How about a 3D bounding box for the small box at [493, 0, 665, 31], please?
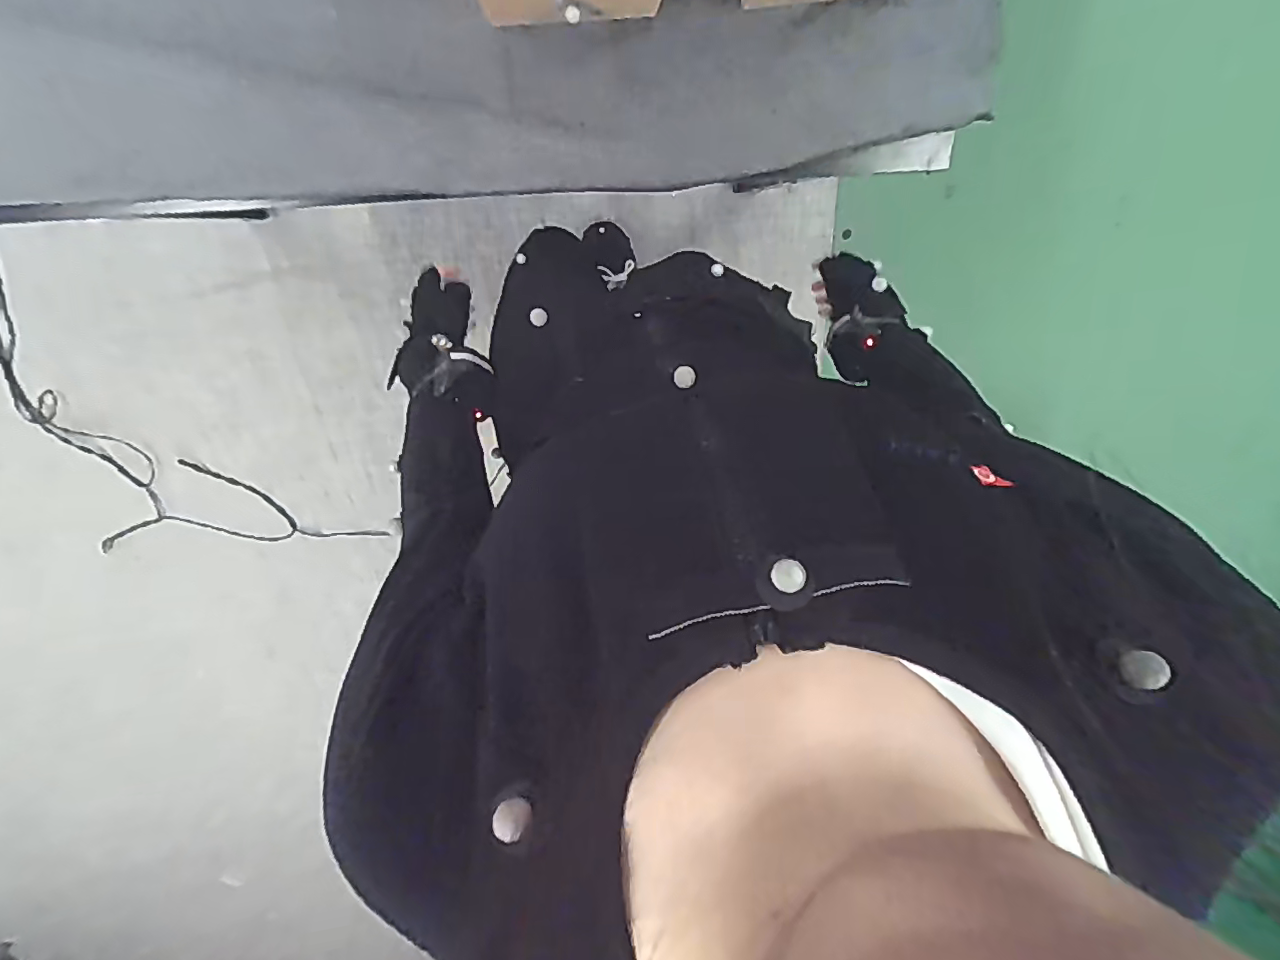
[{"bbox_3d":[-0.059,-0.495,0.426,0.168,0.176,0.179,-5,115,-2],"label":"small box"}]
